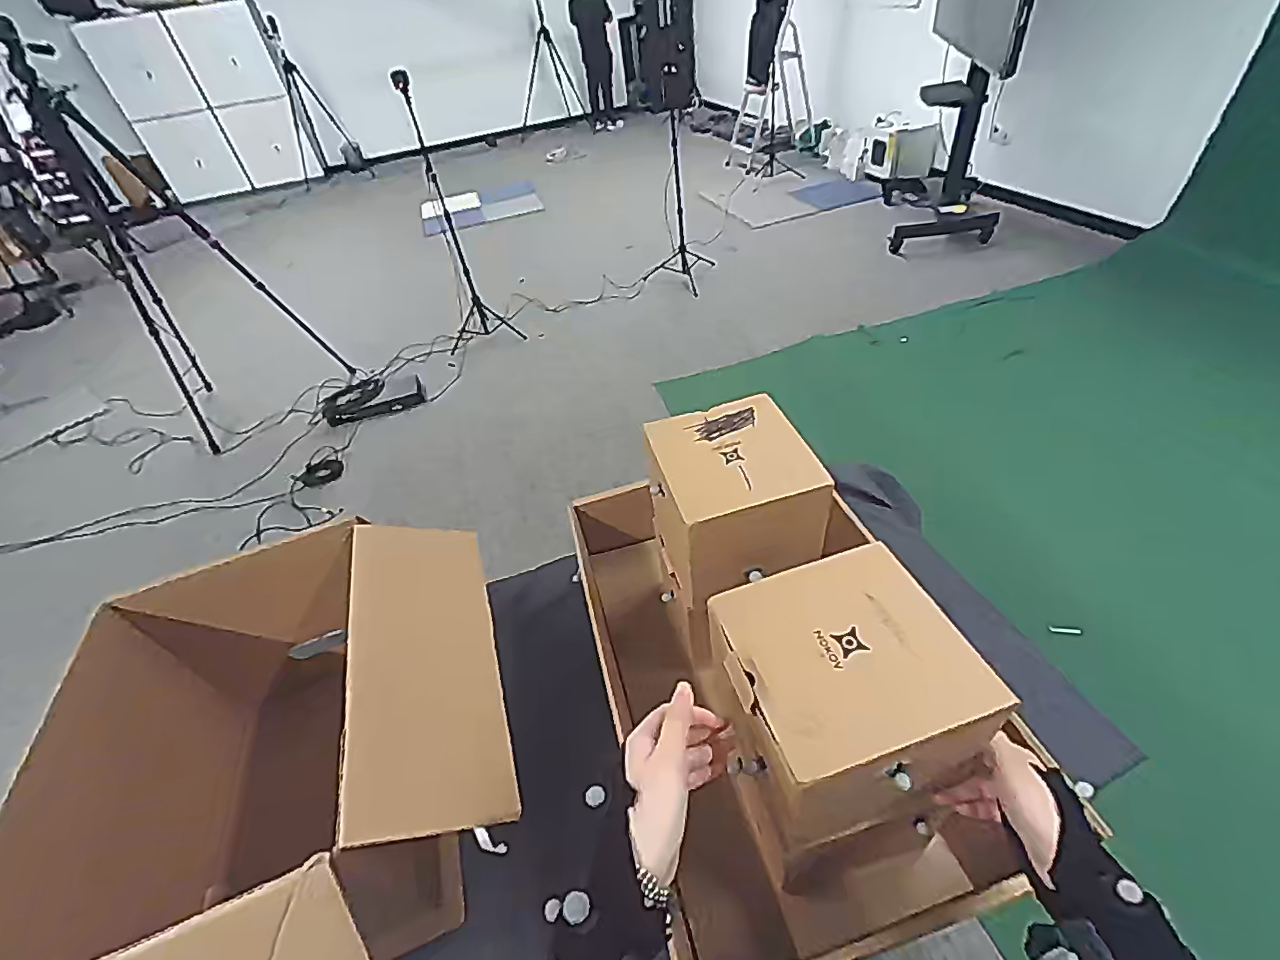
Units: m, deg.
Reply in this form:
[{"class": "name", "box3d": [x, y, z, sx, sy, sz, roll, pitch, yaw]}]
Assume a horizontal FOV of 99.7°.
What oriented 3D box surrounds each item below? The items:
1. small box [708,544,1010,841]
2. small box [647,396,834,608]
[{"class": "small box", "box3d": [0.174, 0.192, 0.488, 0.179, 0.176, 0.168, -16, 44, -8]}, {"class": "small box", "box3d": [0.113, 0.027, 0.670, 0.168, 0.176, 0.179, -15, 46, -6]}]
